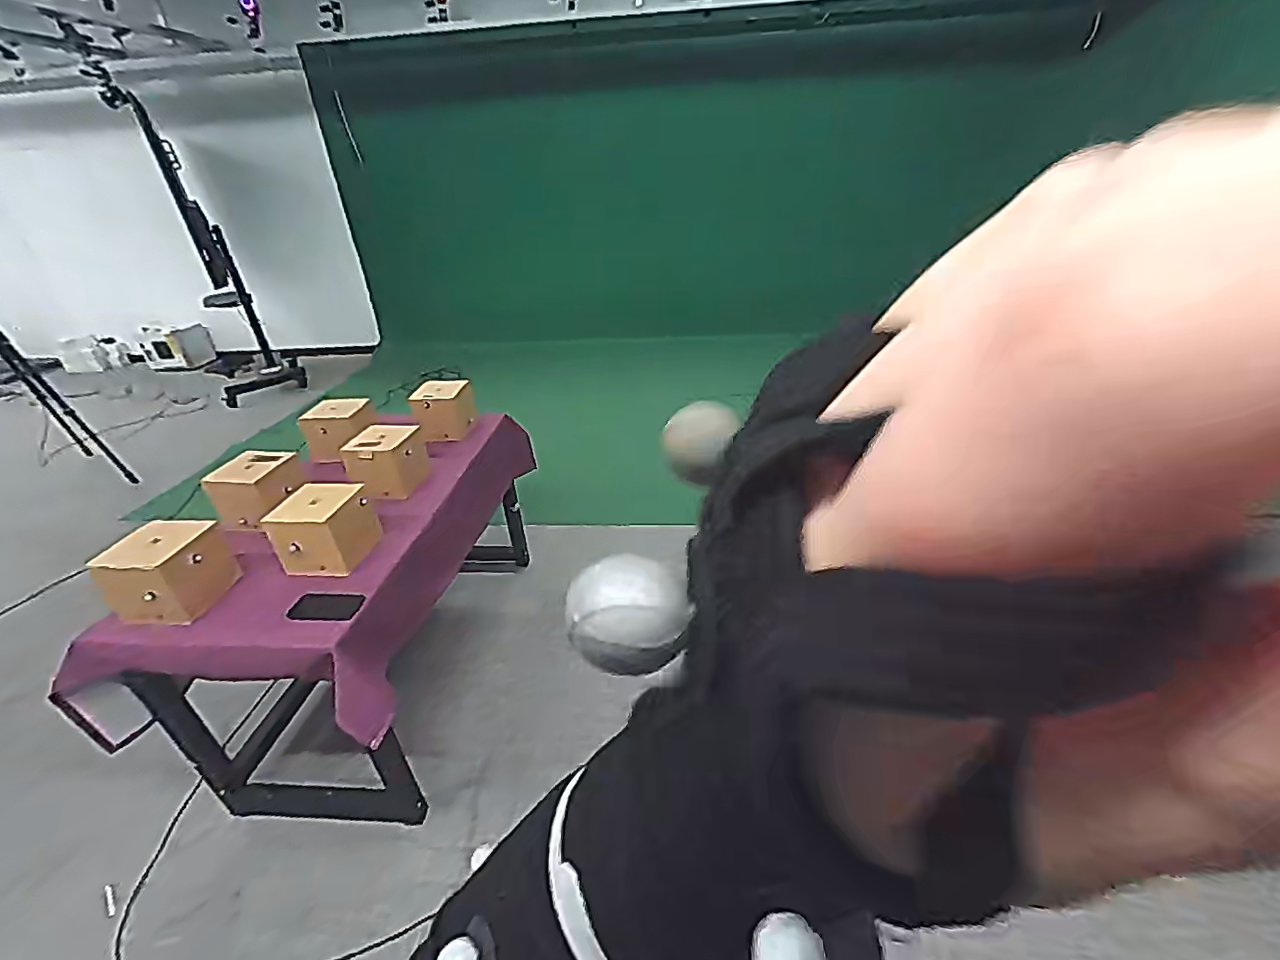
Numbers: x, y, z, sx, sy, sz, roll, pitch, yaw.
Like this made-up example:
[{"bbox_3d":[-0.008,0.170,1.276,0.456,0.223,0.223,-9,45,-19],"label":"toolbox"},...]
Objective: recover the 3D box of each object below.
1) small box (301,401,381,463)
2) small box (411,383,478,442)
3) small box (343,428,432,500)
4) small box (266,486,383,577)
[{"bbox_3d":[-1.030,-0.165,1.890,0.179,0.176,0.168,-1,31,3],"label":"small box"},{"bbox_3d":[-0.712,-0.249,1.996,0.168,0.176,0.179,-1,30,5],"label":"small box"},{"bbox_3d":[-0.766,-0.050,1.665,0.168,0.176,0.179,1,30,9],"label":"small box"},{"bbox_3d":[-0.780,0.130,1.362,0.168,0.176,0.179,0,29,7],"label":"small box"}]
